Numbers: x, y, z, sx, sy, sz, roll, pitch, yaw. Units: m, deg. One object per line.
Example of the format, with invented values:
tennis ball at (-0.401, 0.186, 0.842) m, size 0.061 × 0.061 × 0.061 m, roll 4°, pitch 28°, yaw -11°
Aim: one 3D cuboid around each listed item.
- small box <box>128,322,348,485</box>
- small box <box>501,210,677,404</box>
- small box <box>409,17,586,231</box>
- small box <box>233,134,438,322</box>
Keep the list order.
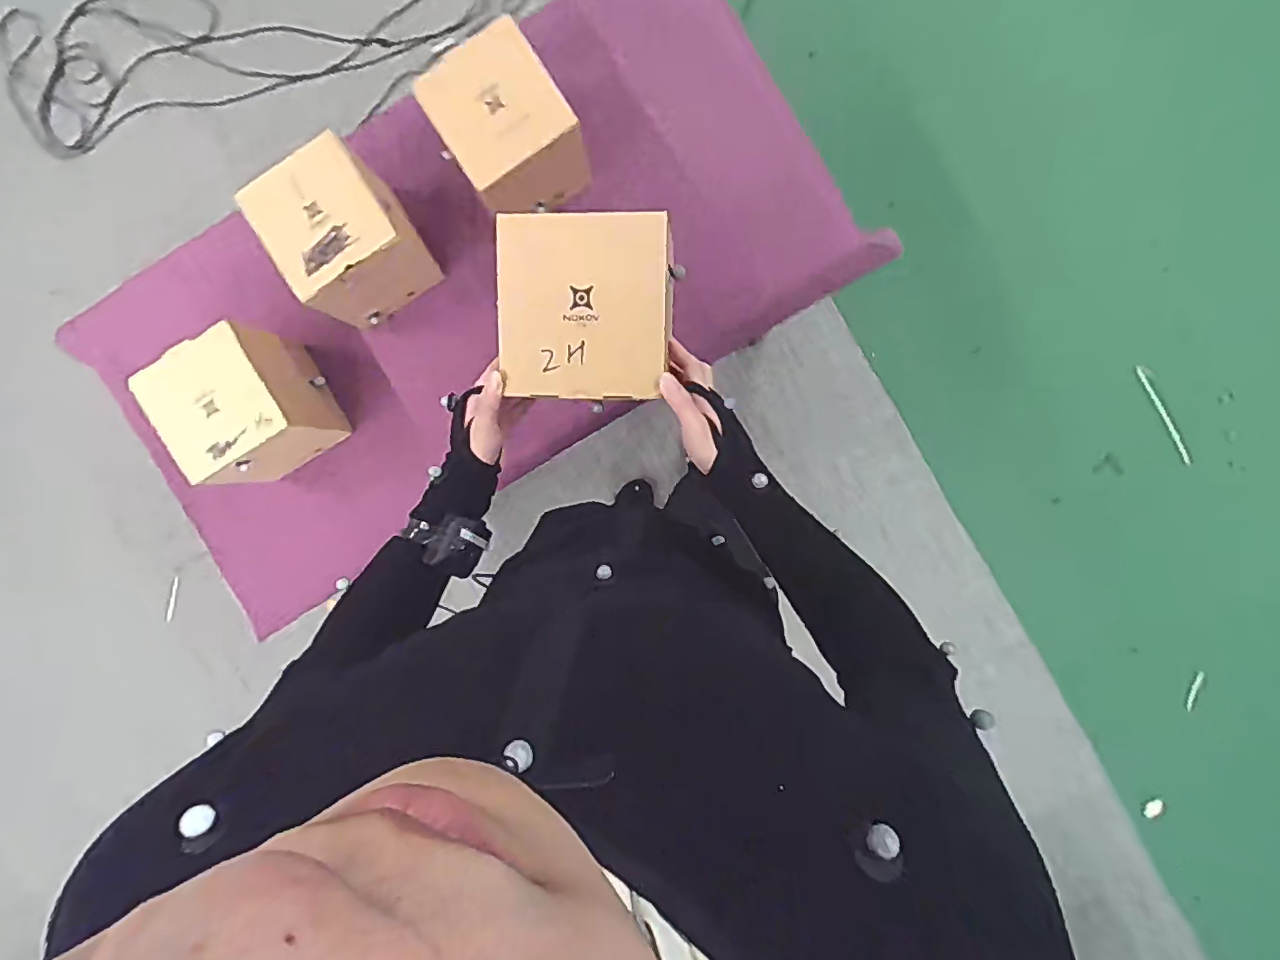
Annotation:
small box at (-0.596, -0.106, 0.825) m, size 0.168 × 0.176 × 0.179 m, roll -31°, pitch 90°, yaw 4°
small box at (-0.046, -0.177, 0.599) m, size 0.168 × 0.176 × 0.179 m, roll 3°, pitch 98°, yaw 5°
small box at (-0.199, -0.507, 0.805) m, size 0.168 × 0.176 × 0.179 m, roll -33°, pitch 92°, yaw 3°
small box at (-0.441, -0.359, 0.815) m, size 0.168 × 0.176 × 0.179 m, roll -33°, pitch 90°, yaw 2°
